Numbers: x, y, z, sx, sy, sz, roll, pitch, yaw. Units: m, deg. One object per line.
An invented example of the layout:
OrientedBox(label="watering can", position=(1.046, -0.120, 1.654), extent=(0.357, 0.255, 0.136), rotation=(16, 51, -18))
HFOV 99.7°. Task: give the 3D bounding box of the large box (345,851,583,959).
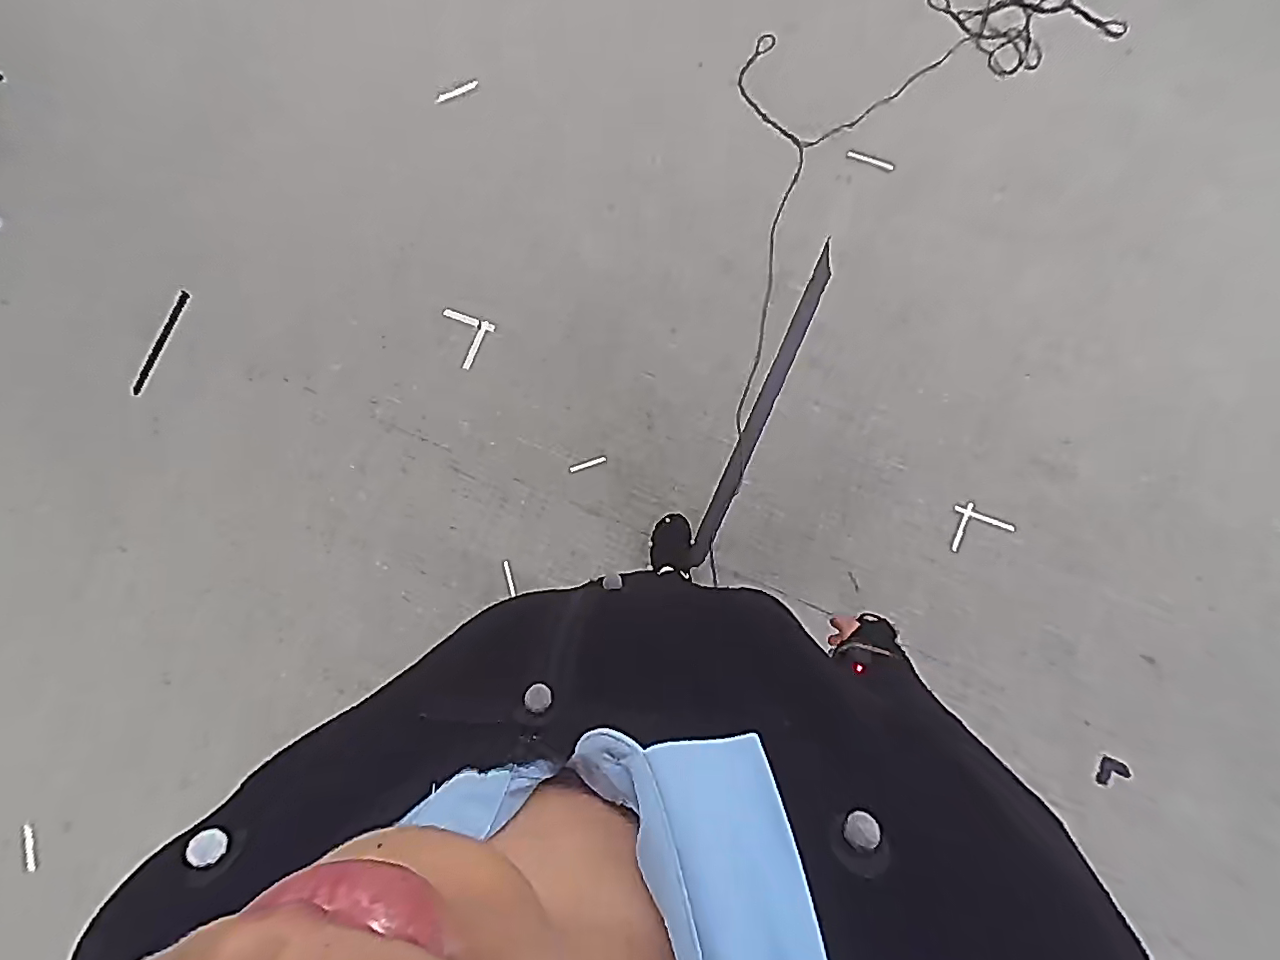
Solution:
OrientedBox(label="large box", position=(-0.376, 1.050, 1.085), extent=(0.408, 0.320, 0.320), rotation=(21, 84, 7))
